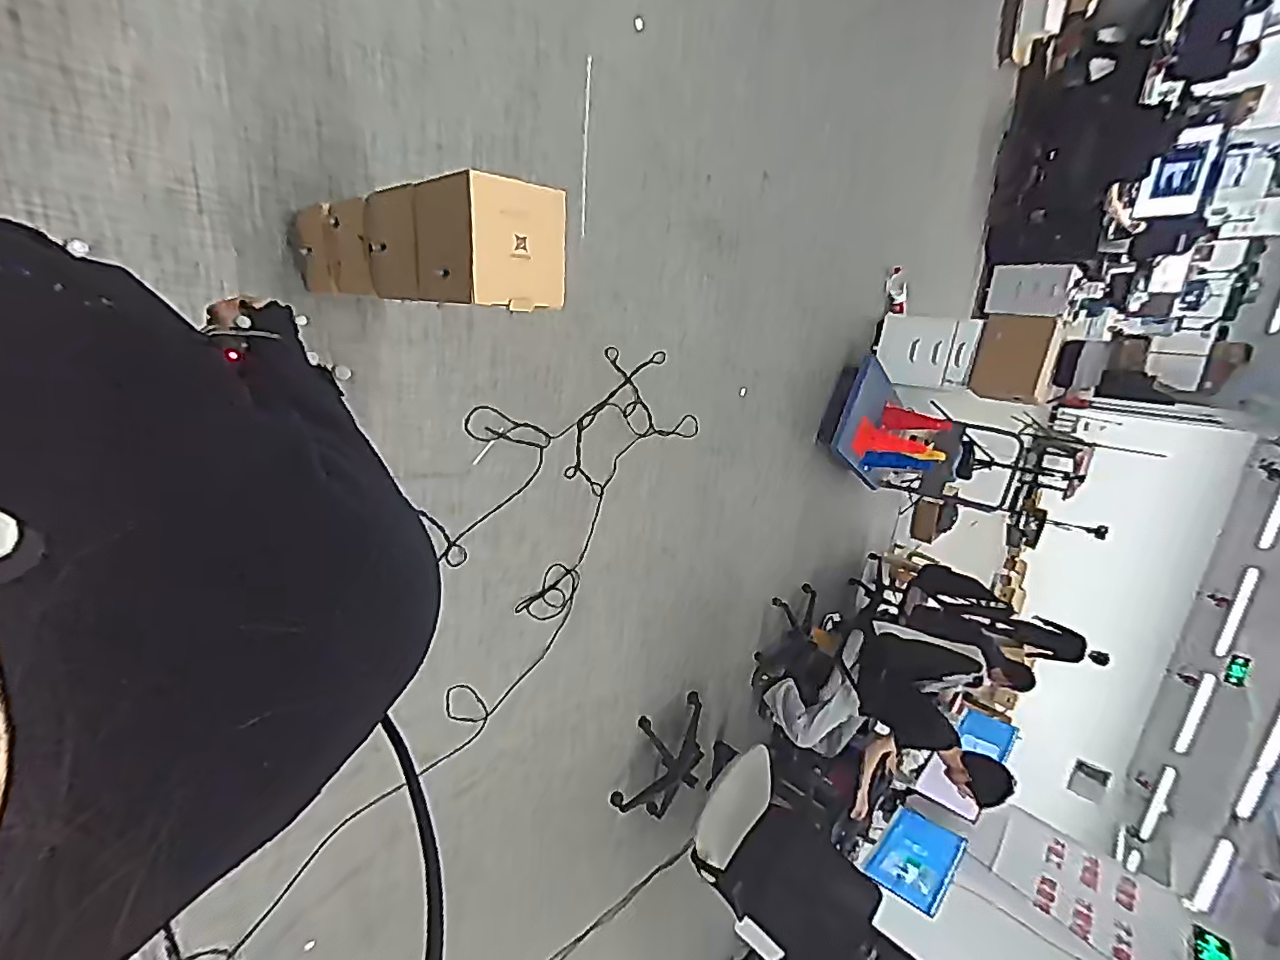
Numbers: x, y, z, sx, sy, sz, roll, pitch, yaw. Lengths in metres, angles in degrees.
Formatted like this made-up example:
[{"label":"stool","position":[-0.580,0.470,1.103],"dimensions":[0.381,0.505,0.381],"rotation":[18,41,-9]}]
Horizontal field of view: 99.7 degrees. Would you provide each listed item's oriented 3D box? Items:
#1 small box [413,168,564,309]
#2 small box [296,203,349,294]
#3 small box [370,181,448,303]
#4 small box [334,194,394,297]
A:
[{"label":"small box","position":[-0.237,-0.365,0.848],"dimensions":[0.168,0.176,0.179],"rotation":[-15,115,-45]},{"label":"small box","position":[-0.601,-0.484,1.155],"dimensions":[0.179,0.176,0.168],"rotation":[-17,115,-43]},{"label":"small box","position":[-0.356,-0.407,0.952],"dimensions":[0.168,0.176,0.179],"rotation":[-16,116,-44]},{"label":"small box","position":[-0.476,-0.445,1.056],"dimensions":[0.179,0.176,0.168],"rotation":[-17,116,-45]}]
